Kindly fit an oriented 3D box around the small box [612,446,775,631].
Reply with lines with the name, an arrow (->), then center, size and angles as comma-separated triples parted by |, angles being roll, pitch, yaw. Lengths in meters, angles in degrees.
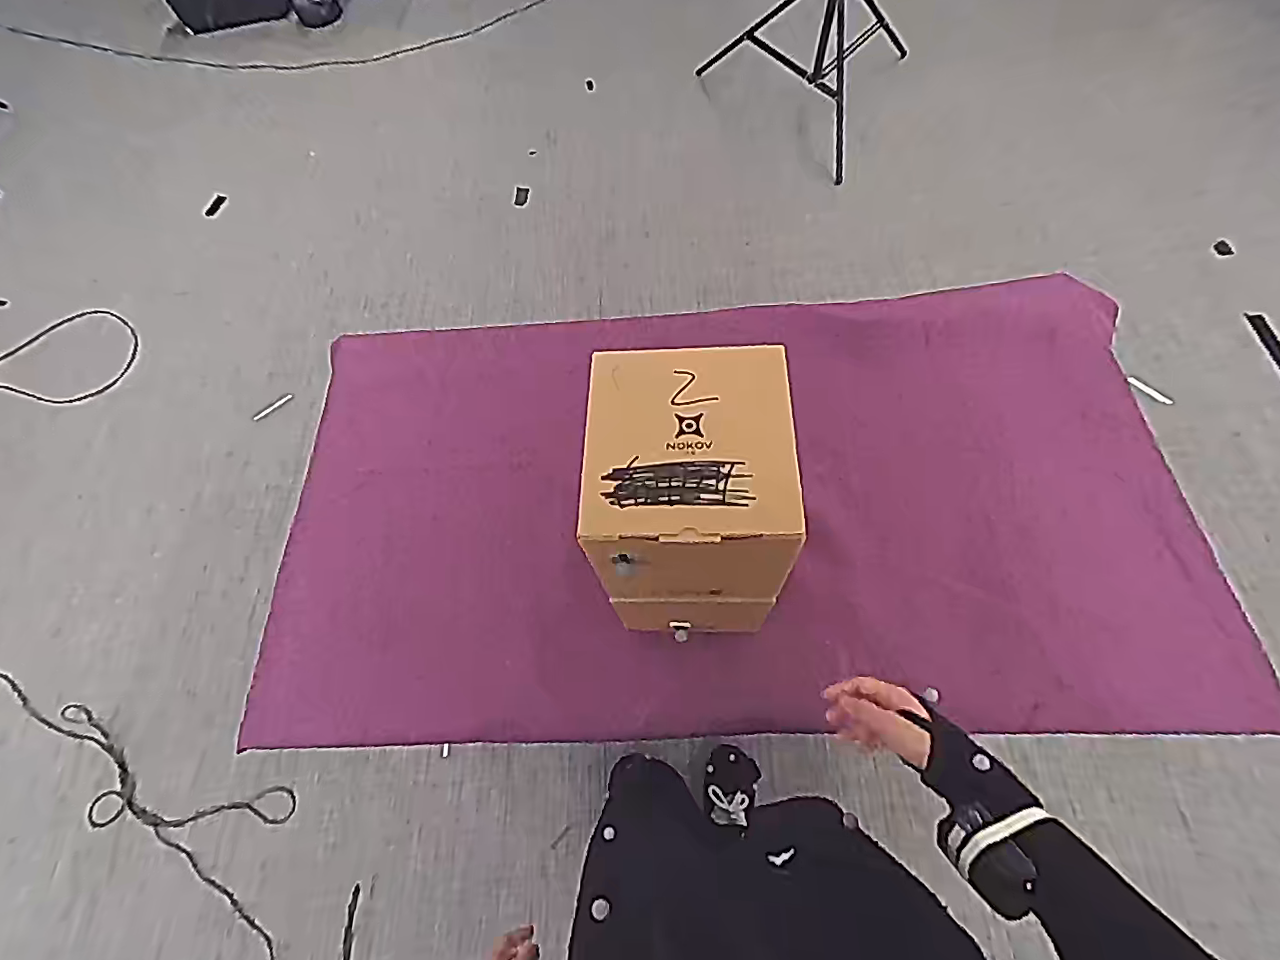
small box -> 0.060, 0.075, 0.644 | 0.168, 0.176, 0.179 | -1, 65, 5
